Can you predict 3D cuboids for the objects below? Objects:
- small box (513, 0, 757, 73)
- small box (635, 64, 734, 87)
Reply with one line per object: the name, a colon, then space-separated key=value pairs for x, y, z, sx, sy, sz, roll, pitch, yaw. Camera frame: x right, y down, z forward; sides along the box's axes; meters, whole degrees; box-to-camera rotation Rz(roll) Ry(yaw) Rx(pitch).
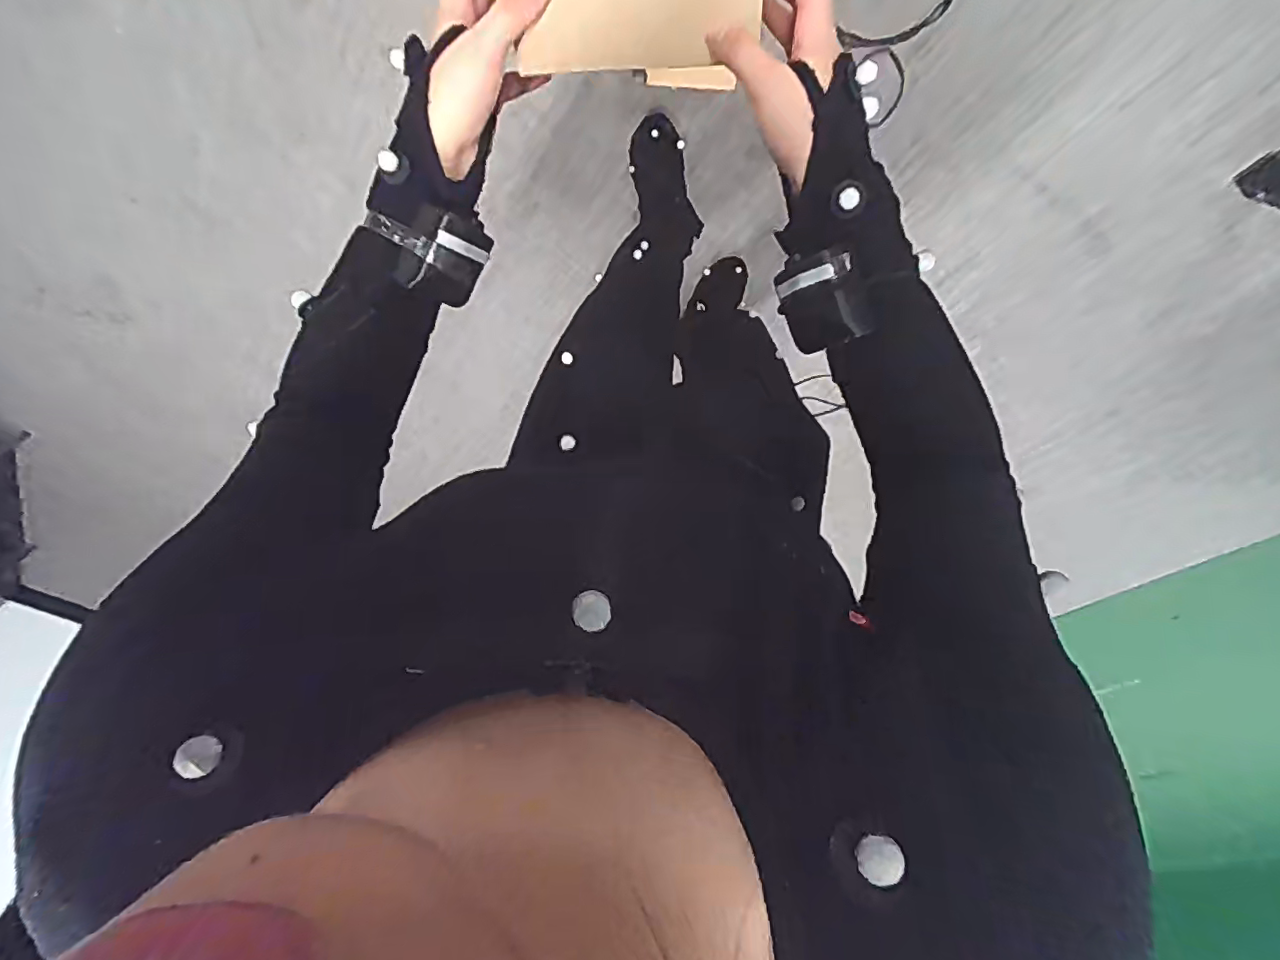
small box: x=0.001 y=-0.407 z=0.382 sx=0.168 sy=0.176 sz=0.179 roll=1 pitch=130 yaw=5
small box: x=0.085 y=-0.777 z=0.897 sx=0.168 sy=0.176 sz=0.179 roll=5 pitch=133 yaw=2
